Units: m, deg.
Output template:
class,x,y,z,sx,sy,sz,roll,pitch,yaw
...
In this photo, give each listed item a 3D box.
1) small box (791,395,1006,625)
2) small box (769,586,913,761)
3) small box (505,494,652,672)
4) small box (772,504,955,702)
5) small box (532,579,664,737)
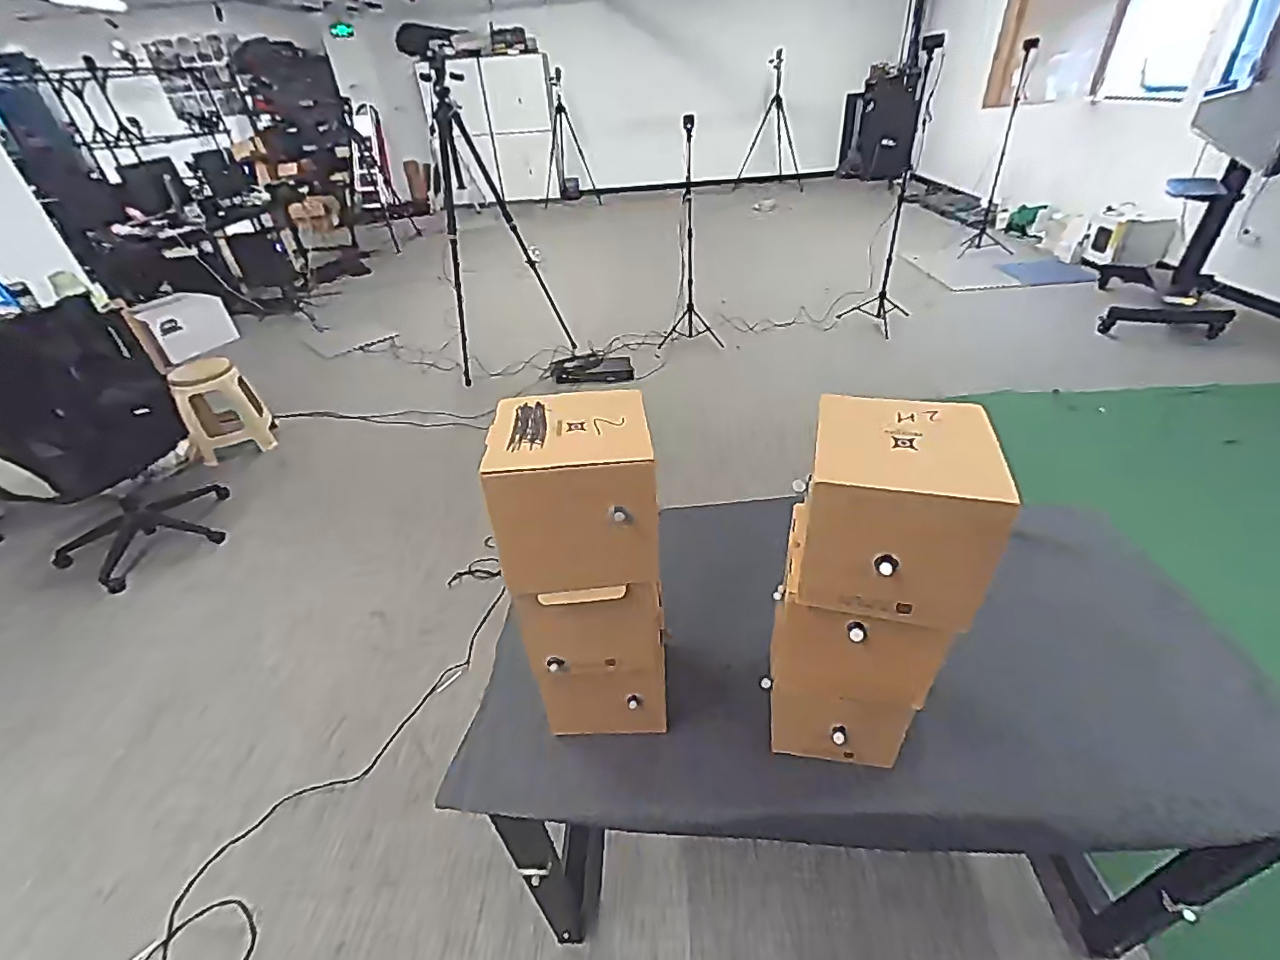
class,x,y,z,sx,sy,sz,roll,pitch,yaw
small box,0.255,0.027,0.573,0.168,0.176,0.179,6,37,16
small box,0.276,0.279,0.783,0.168,0.176,0.179,2,37,11
small box,-0.075,0.143,0.737,0.168,0.176,0.179,-6,34,-1
small box,0.267,0.152,0.680,0.179,0.176,0.168,5,37,15
small box,-0.053,0.275,0.834,0.179,0.176,0.168,-4,34,3
